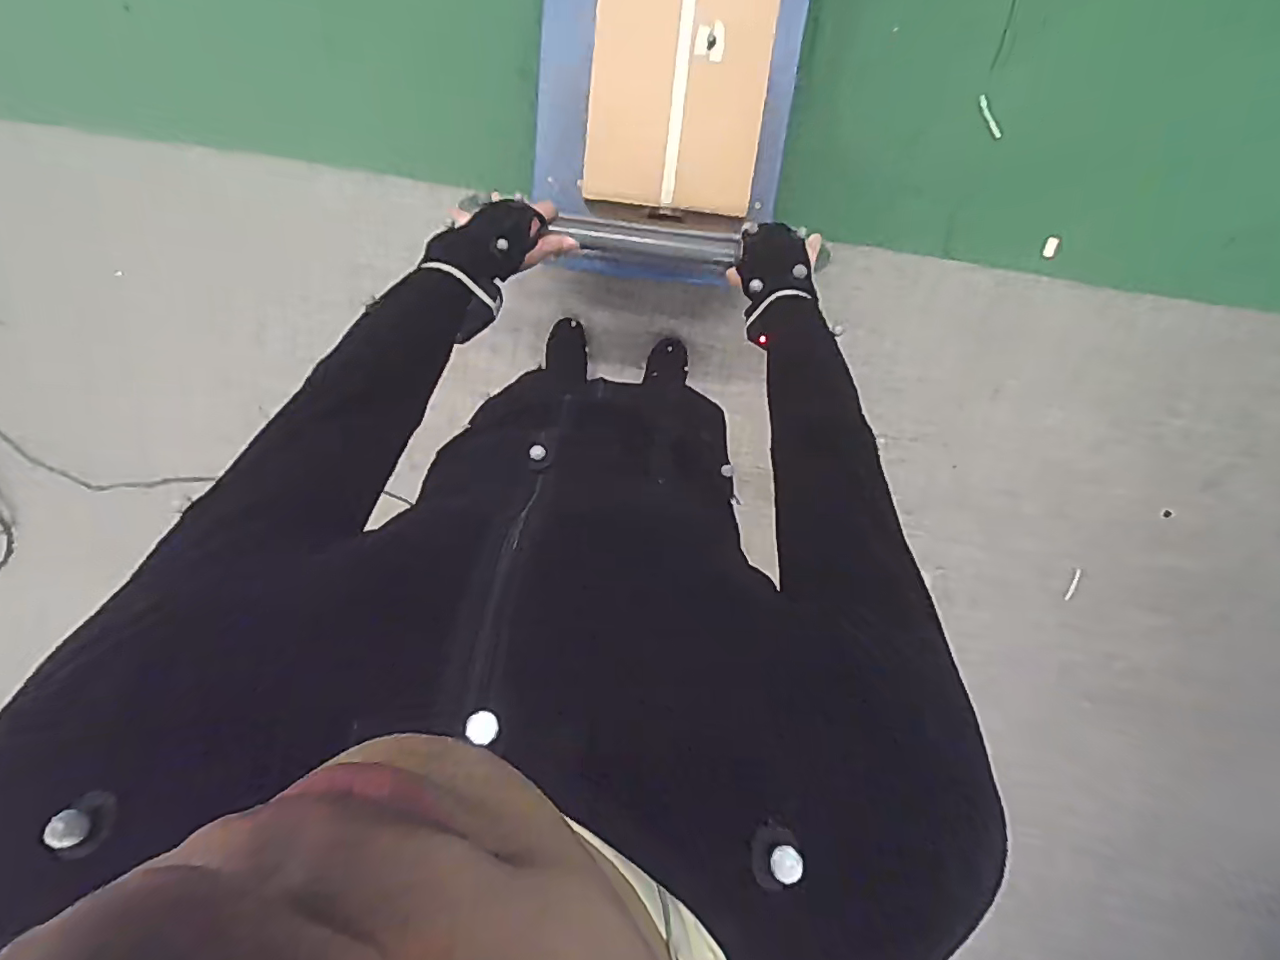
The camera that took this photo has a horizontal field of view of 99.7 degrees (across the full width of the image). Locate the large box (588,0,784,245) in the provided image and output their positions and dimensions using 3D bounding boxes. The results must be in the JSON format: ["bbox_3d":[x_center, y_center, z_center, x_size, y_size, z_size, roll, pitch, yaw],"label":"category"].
[{"bbox_3d":[0.079,-0.724,1.092,0.320,0.320,0.408,7,105,-1],"label":"large box"}]
